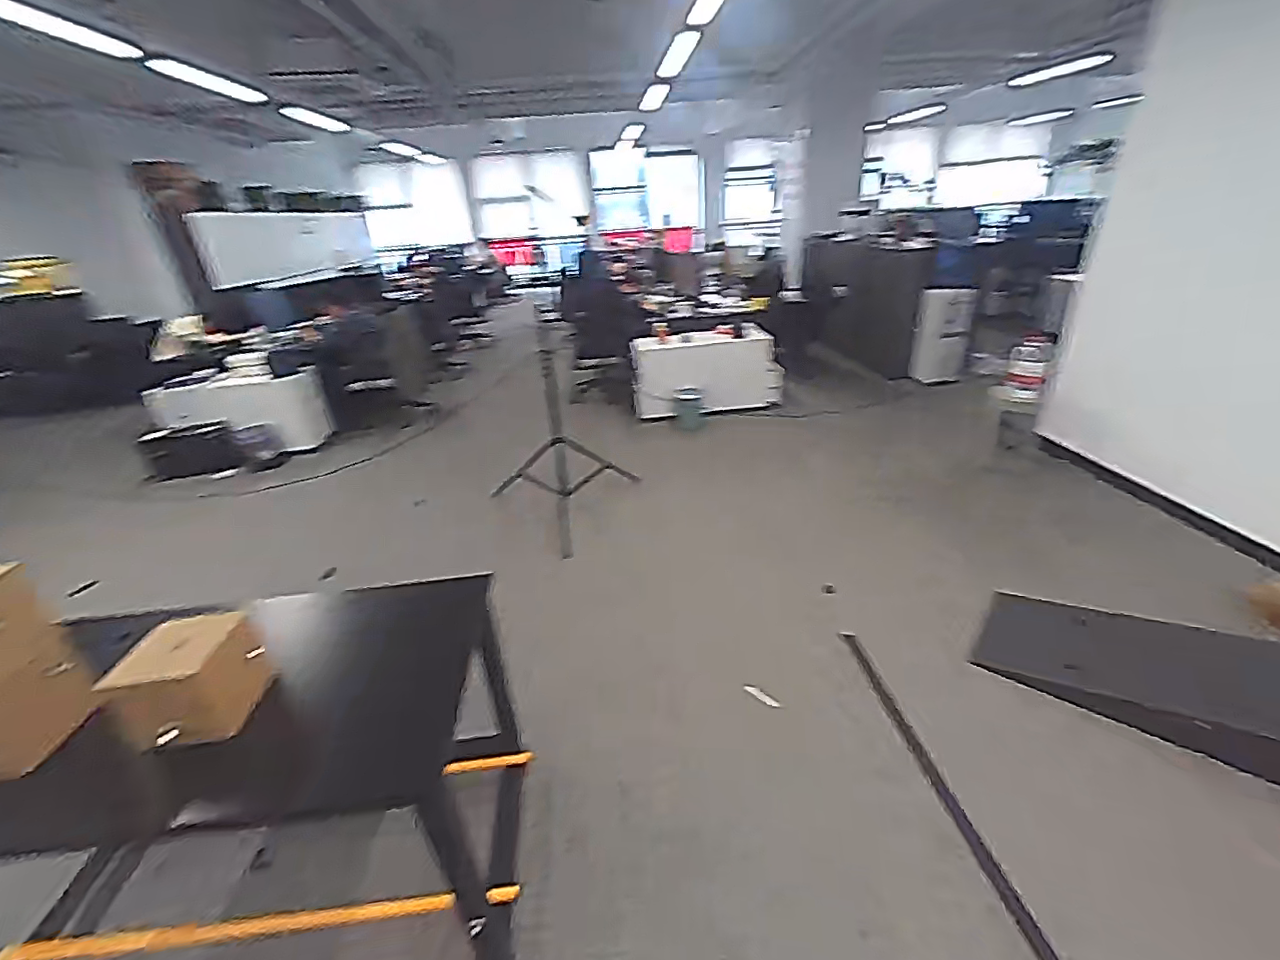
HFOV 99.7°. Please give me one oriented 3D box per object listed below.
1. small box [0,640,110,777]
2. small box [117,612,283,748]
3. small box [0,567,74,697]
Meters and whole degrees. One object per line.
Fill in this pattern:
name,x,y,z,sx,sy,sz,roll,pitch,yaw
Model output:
small box,-1.178,0.433,1.028,0.168,0.176,0.179,-6,26,-1
small box,-0.844,0.390,1.064,0.168,0.176,0.179,-8,27,-3
small box,-1.193,0.282,0.964,0.168,0.176,0.179,-6,27,-4
